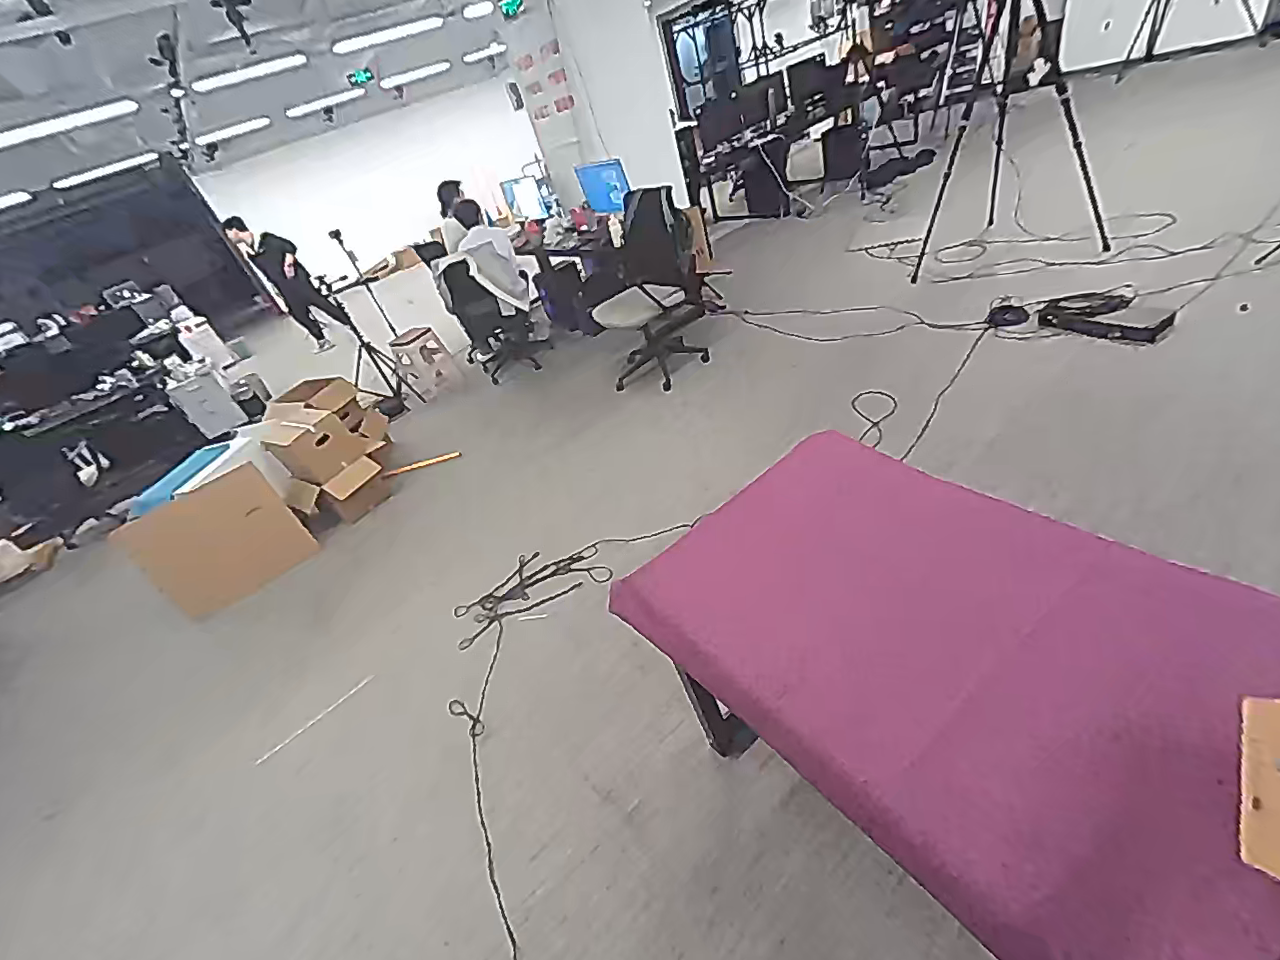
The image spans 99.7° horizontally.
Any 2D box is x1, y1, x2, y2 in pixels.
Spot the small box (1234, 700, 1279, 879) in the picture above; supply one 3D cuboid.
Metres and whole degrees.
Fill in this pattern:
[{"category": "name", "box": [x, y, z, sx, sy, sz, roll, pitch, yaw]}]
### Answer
[{"category": "small box", "box": [0.673, 0.298, 0.465, 0.179, 0.176, 0.168, 10, 77, 24]}]
